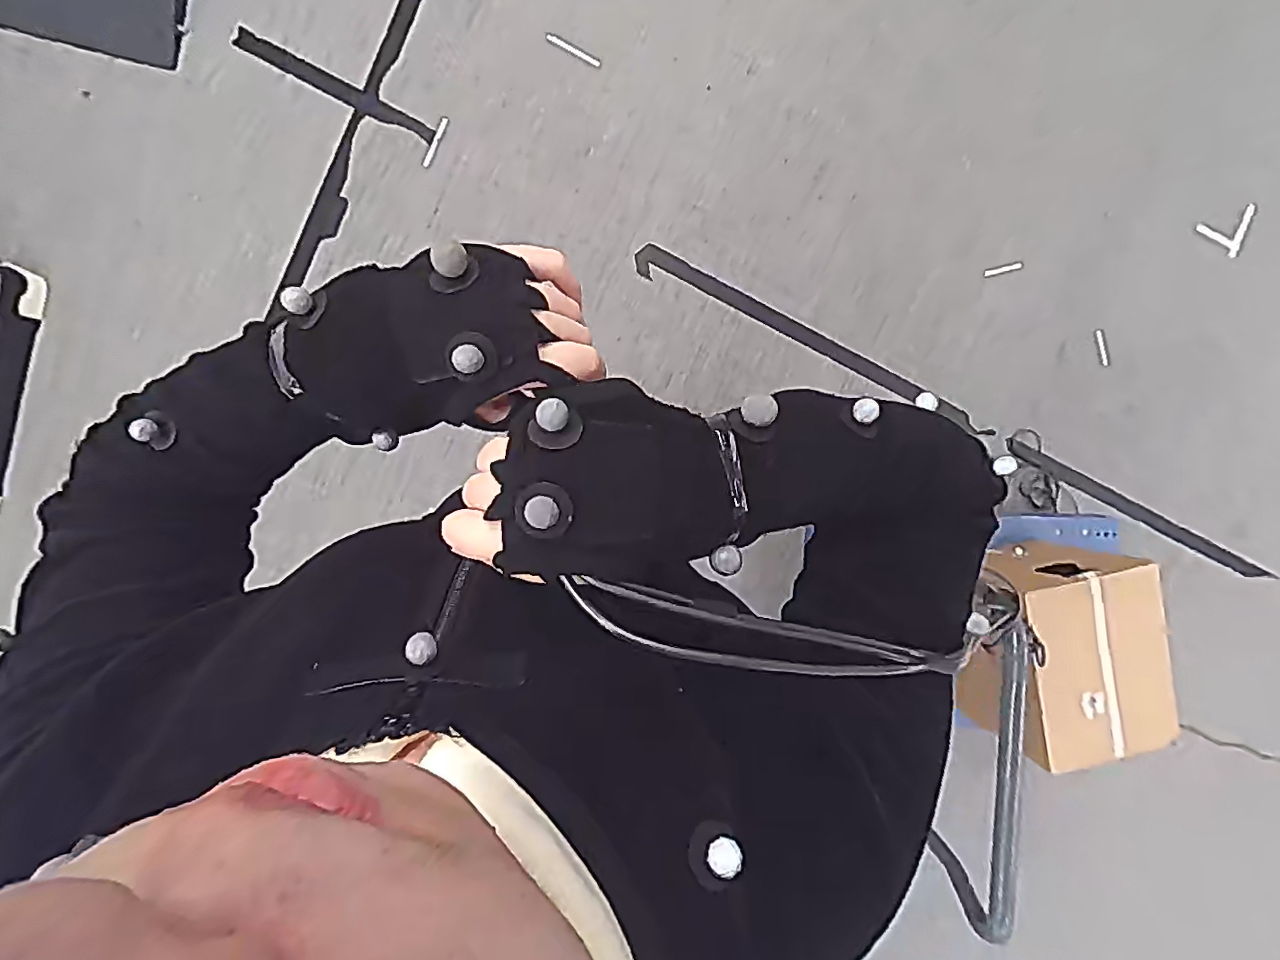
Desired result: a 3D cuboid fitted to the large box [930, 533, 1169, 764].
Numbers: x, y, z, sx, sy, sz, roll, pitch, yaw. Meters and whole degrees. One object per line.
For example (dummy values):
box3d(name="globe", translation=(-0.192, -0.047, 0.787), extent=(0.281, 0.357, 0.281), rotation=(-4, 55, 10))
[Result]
box3d(name="large box", translation=(0.953, 0.373, 1.295), extent=(0.320, 0.320, 0.408), rotation=(-11, 95, -5))
